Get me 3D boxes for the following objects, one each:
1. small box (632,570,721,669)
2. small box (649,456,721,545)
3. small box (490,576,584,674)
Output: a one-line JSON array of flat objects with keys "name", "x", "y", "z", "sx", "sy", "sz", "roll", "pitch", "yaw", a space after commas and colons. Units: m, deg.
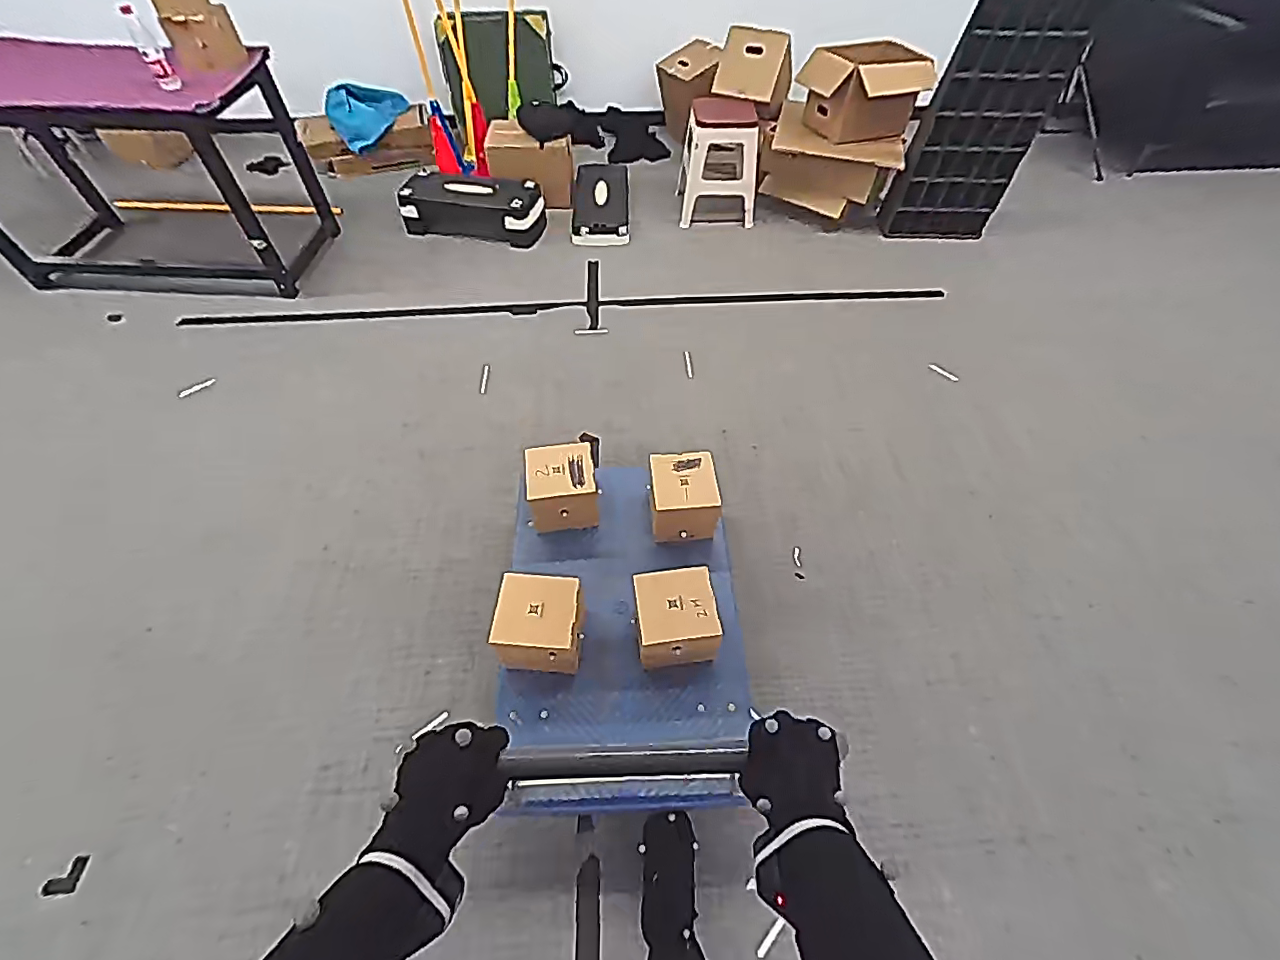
[{"name": "small box", "x": 0.079, "y": 0.329, "z": 1.255, "sx": 0.179, "sy": 0.176, "sz": 0.168, "roll": -6, "pitch": 55, "yaw": -4}, {"name": "small box", "x": 0.114, "y": 0.056, "z": 1.452, "sx": 0.168, "sy": 0.176, "sz": 0.179, "roll": -4, "pitch": 55, "yaw": -3}, {"name": "small box", "x": -0.228, "y": 0.337, "z": 1.246, "sx": 0.179, "sy": 0.176, "sz": 0.168, "roll": 5, "pitch": 54, "yaw": 0}]
